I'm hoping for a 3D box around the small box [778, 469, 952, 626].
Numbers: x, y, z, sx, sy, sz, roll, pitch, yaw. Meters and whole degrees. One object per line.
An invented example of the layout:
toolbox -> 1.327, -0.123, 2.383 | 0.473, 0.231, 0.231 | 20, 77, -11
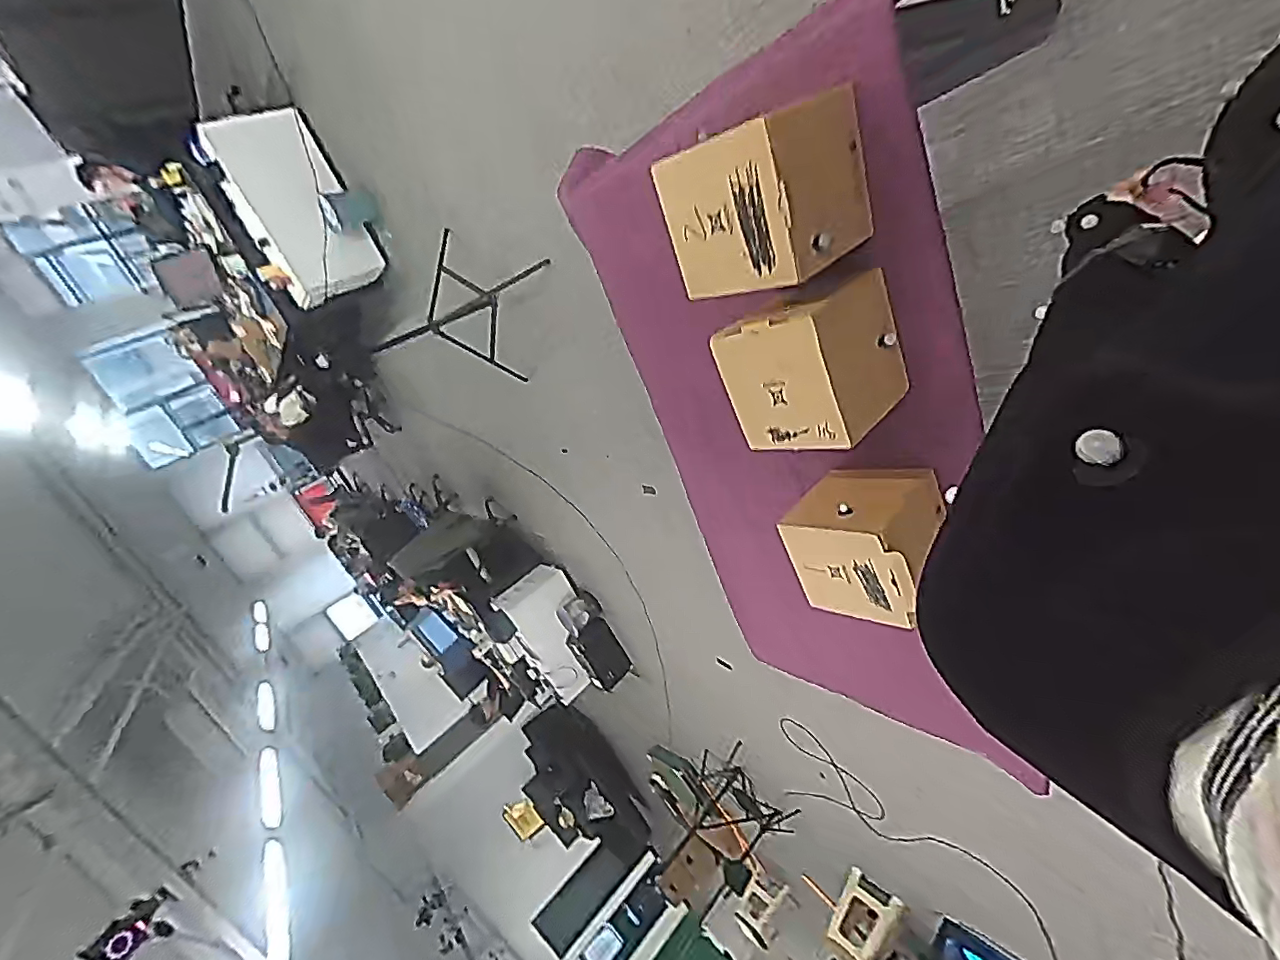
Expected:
small box -> 0.354, 0.093, 0.835 | 0.179, 0.176, 0.168 | 0, 122, 55
